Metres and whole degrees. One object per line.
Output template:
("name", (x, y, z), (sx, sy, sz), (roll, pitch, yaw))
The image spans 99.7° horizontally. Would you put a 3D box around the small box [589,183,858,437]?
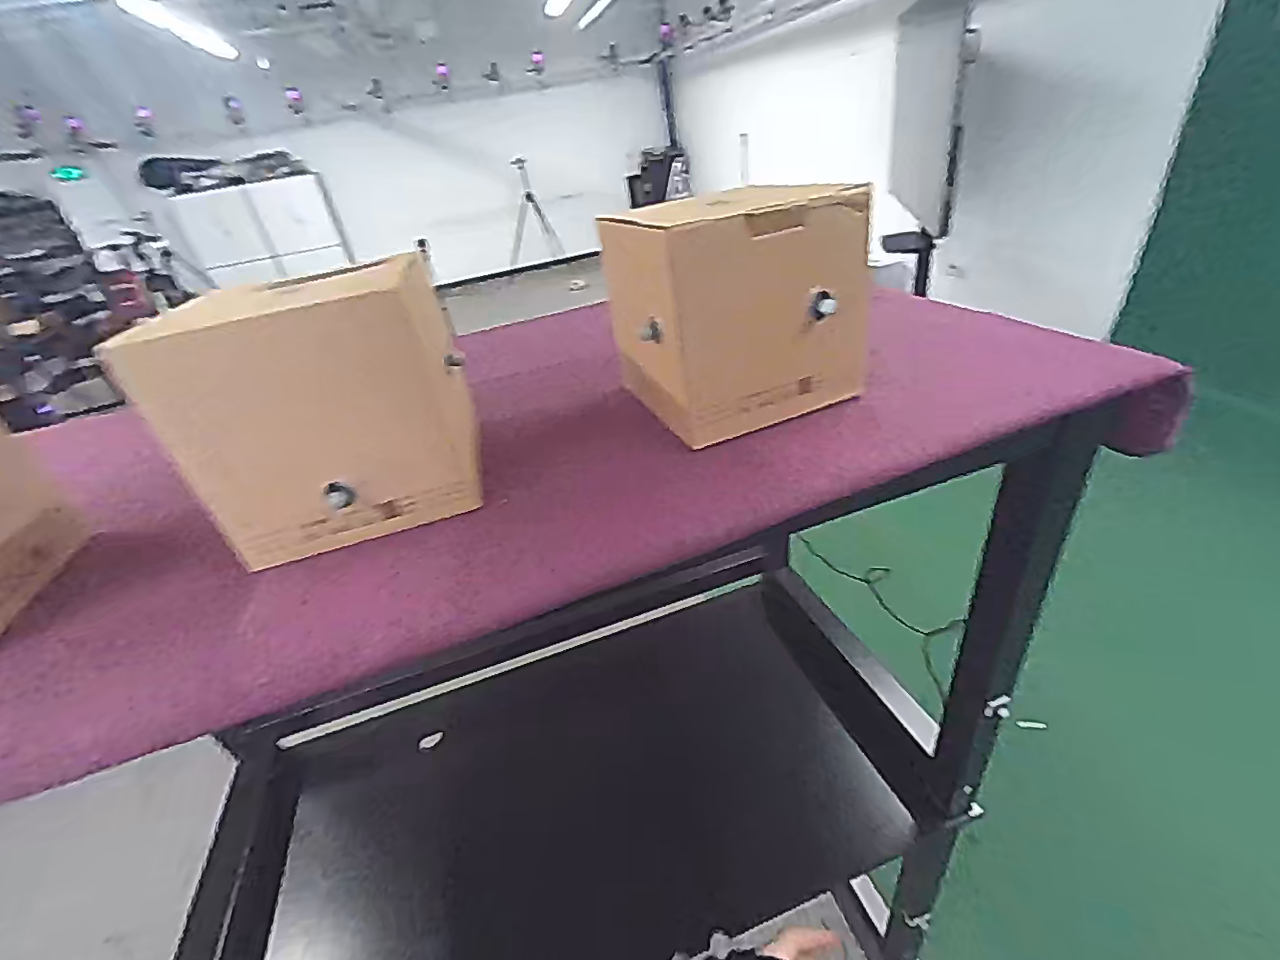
("small box", (0.069, -0.152, 0.480), (0.168, 0.176, 0.179), (-18, 31, -12))
